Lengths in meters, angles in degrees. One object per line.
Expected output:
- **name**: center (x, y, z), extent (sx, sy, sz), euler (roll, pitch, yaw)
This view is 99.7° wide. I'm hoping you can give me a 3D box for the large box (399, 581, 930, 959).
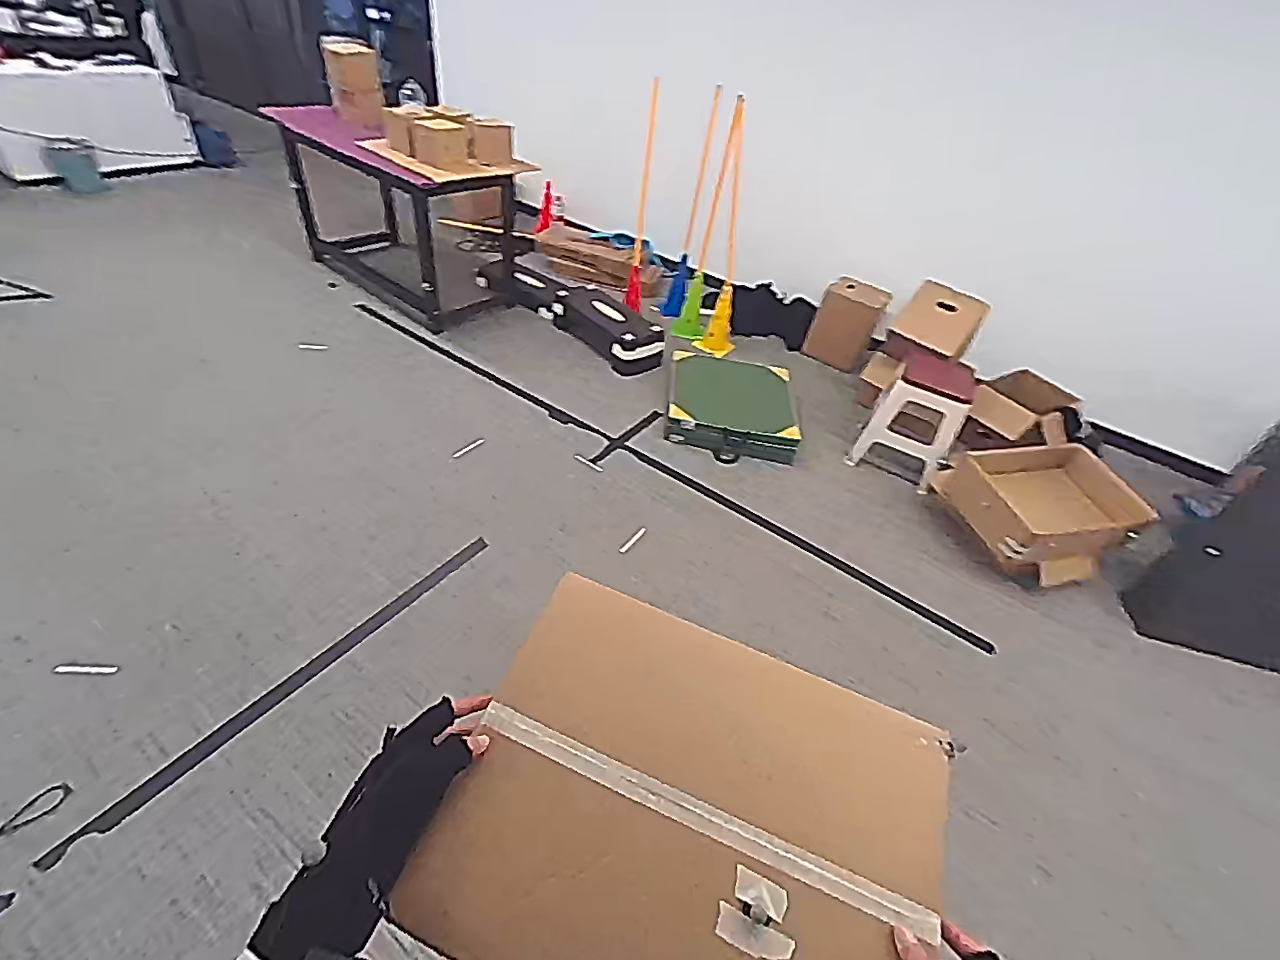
- **large box**: center (0.034, 0.374, 0.596), extent (0.408, 0.320, 0.320), euler (21, 56, 10)
